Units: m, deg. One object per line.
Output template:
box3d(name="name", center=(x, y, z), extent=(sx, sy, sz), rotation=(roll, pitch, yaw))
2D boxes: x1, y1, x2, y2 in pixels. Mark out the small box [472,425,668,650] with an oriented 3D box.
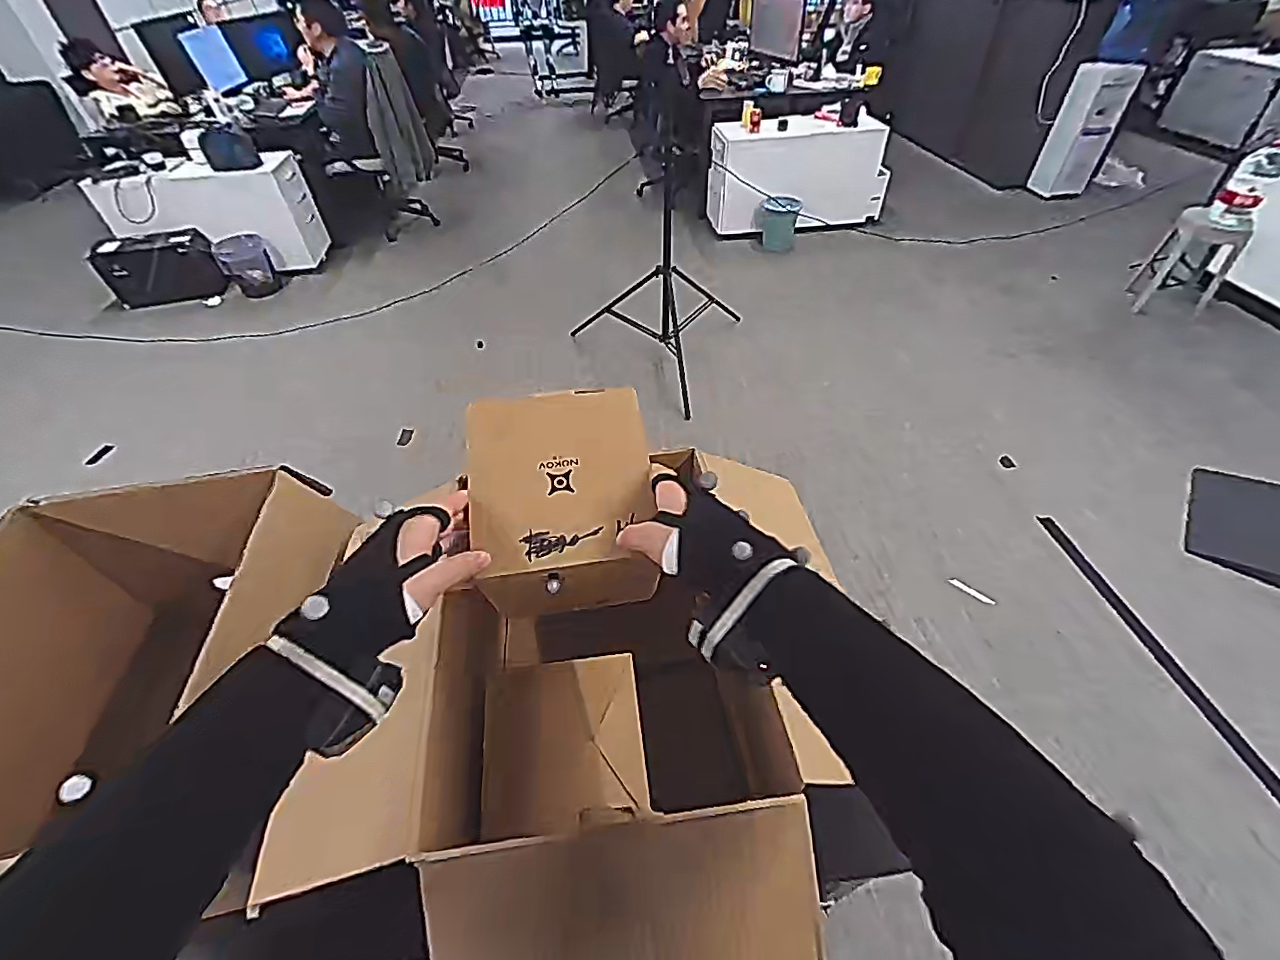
box3d(name="small box", center=(-0.073, 0.065, 0.555), extent=(0.168, 0.176, 0.179), rotation=(-6, 66, -7))
